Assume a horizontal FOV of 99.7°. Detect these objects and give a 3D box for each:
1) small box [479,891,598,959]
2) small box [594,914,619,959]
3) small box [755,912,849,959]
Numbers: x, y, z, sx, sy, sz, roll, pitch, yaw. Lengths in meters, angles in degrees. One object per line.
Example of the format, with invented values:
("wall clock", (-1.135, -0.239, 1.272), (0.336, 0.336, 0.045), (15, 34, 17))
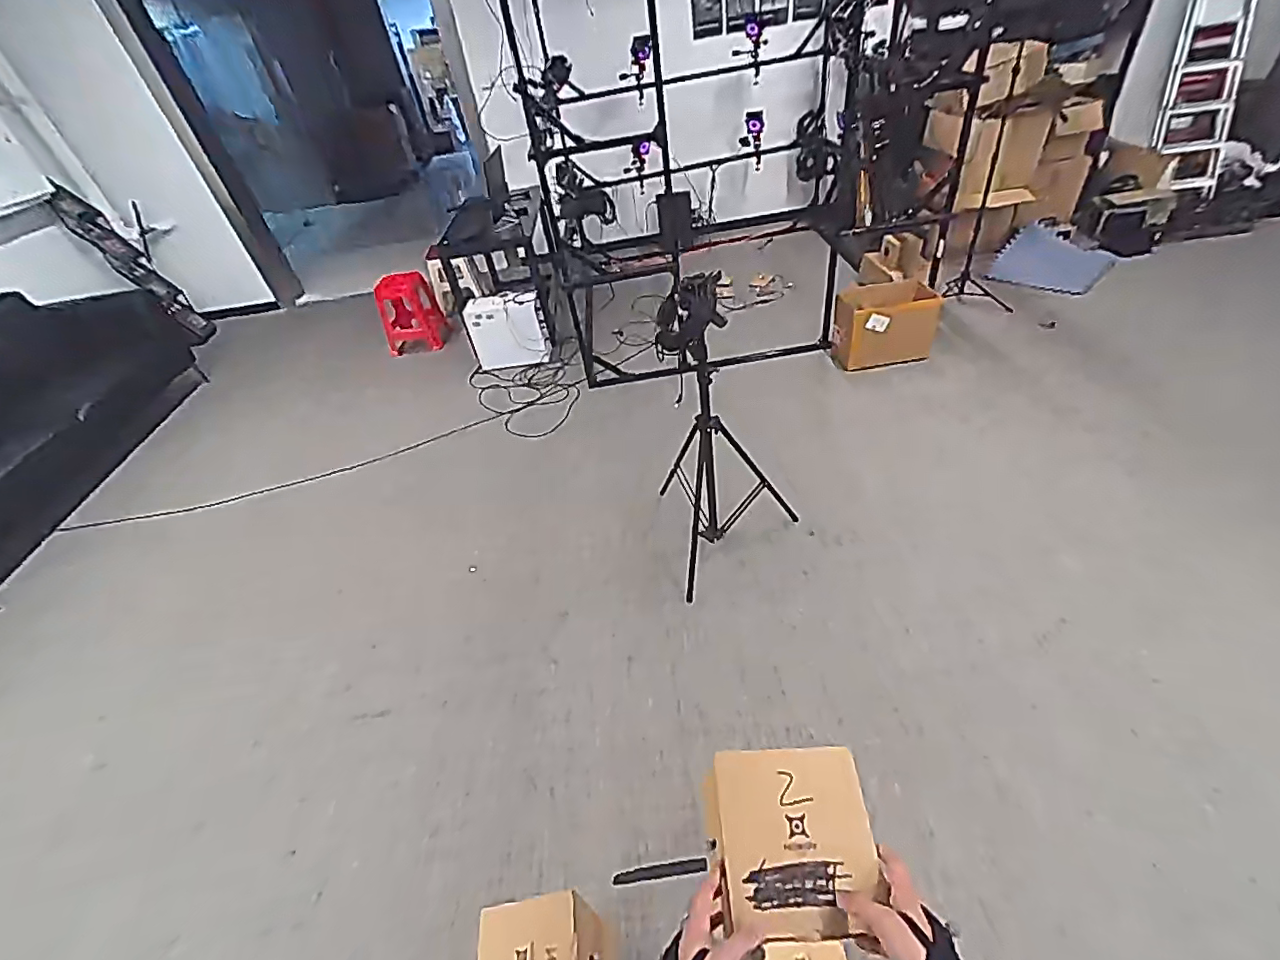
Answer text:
("small box", (-0.176, 0.871, 0.964), (0.179, 0.176, 0.168), (-12, 40, 0))
("small box", (-0.136, 0.991, 1.069), (0.168, 0.176, 0.179), (-8, 41, 6))
("small box", (0.350, 1.047, 1.149), (0.179, 0.176, 0.168), (-8, 41, 2))
